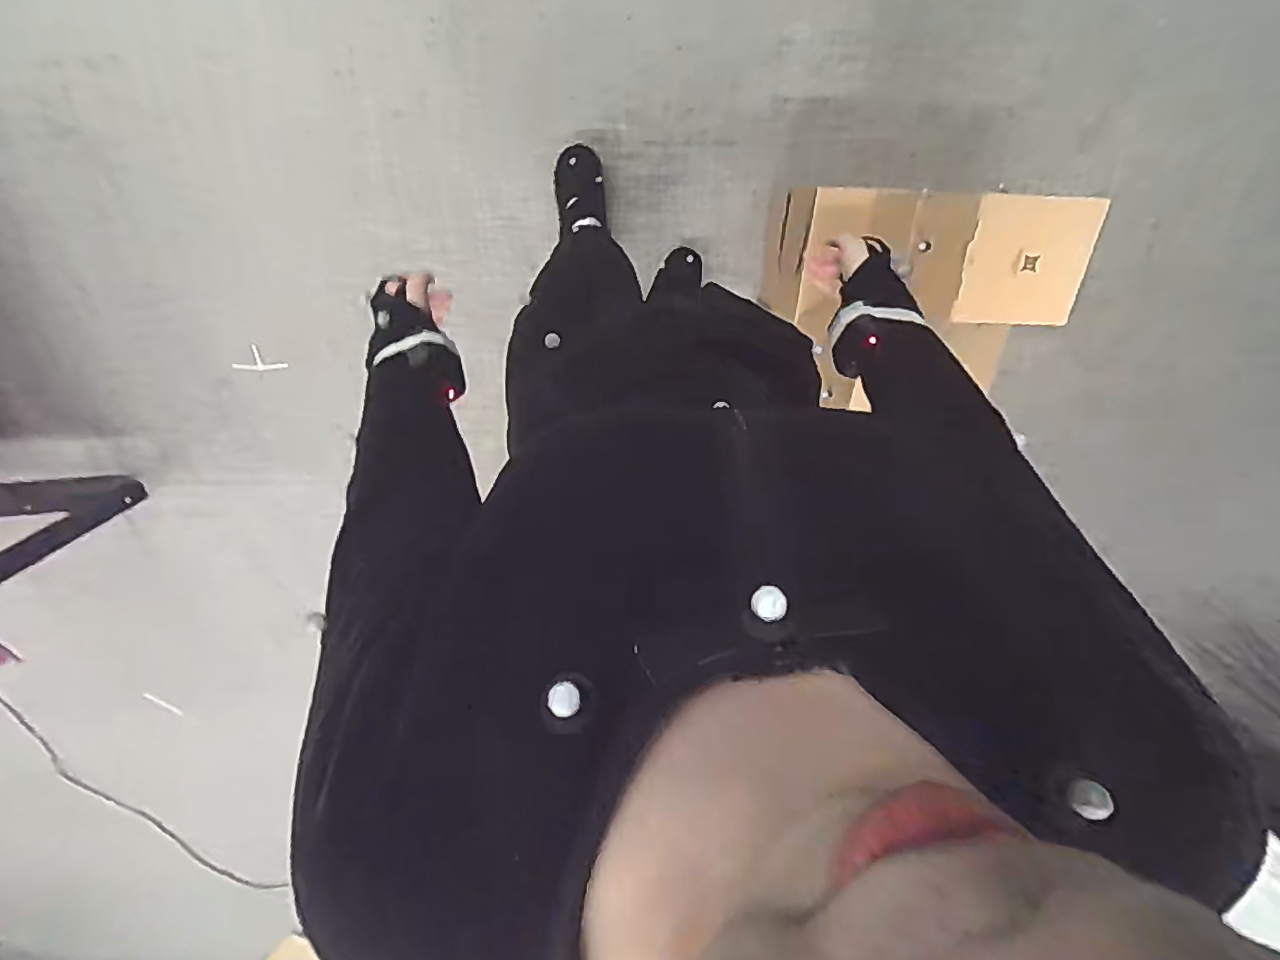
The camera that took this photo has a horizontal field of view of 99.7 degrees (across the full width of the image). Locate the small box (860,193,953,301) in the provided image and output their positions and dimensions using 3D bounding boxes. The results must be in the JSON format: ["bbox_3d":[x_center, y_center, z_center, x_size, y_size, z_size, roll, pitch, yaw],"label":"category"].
[{"bbox_3d":[0.517,-0.404,0.957,0.179,0.176,0.168,2,115,-4],"label":"small box"}]

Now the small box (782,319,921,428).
[{"bbox_3d":[0.395,-0.210,1.042,0.179,0.176,0.168,4,115,-5],"label":"small box"}]

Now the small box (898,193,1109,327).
[{"bbox_3d":[0.525,-0.332,0.811,0.179,0.176,0.168,2,115,-3],"label":"small box"}]
